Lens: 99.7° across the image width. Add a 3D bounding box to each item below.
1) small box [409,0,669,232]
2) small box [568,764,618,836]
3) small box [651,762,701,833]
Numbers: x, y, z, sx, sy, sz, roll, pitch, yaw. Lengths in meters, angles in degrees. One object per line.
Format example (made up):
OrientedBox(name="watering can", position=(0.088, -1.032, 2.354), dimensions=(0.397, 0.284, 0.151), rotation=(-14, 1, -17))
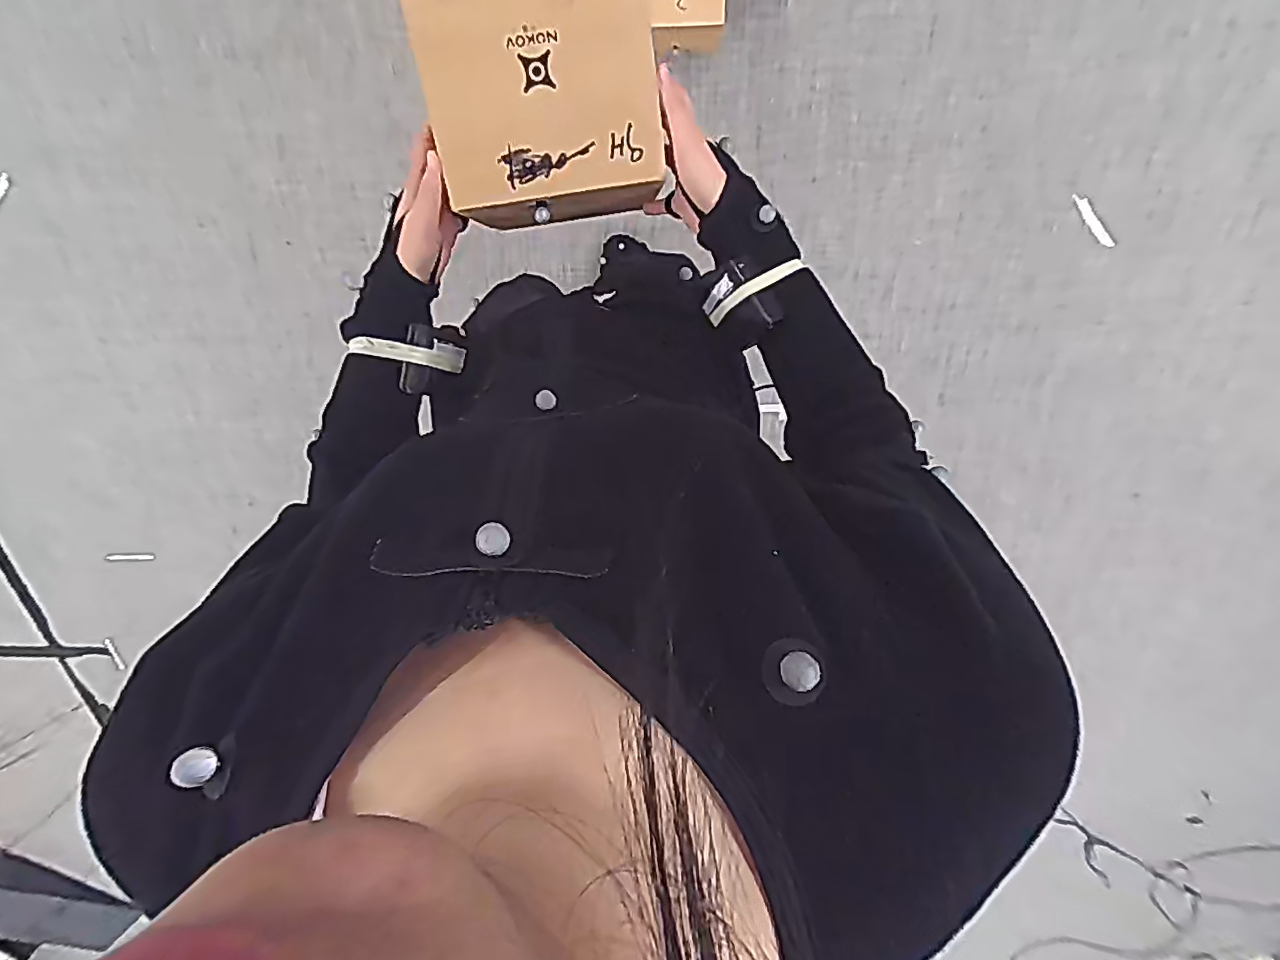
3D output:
OrientedBox(name="small box", position=(-0.074, -0.318, 0.449), dimensions=(0.168, 0.176, 0.179), rotation=(-9, 110, -1))
OrientedBox(name="small box", position=(-0.174, 1.203, 2.036), dimensions=(0.168, 0.176, 0.179), rotation=(-2, 114, 2))
OrientedBox(name="small box", position=(0.131, 1.184, 2.023), dimensions=(0.179, 0.176, 0.168), rotation=(1, 113, 2))
